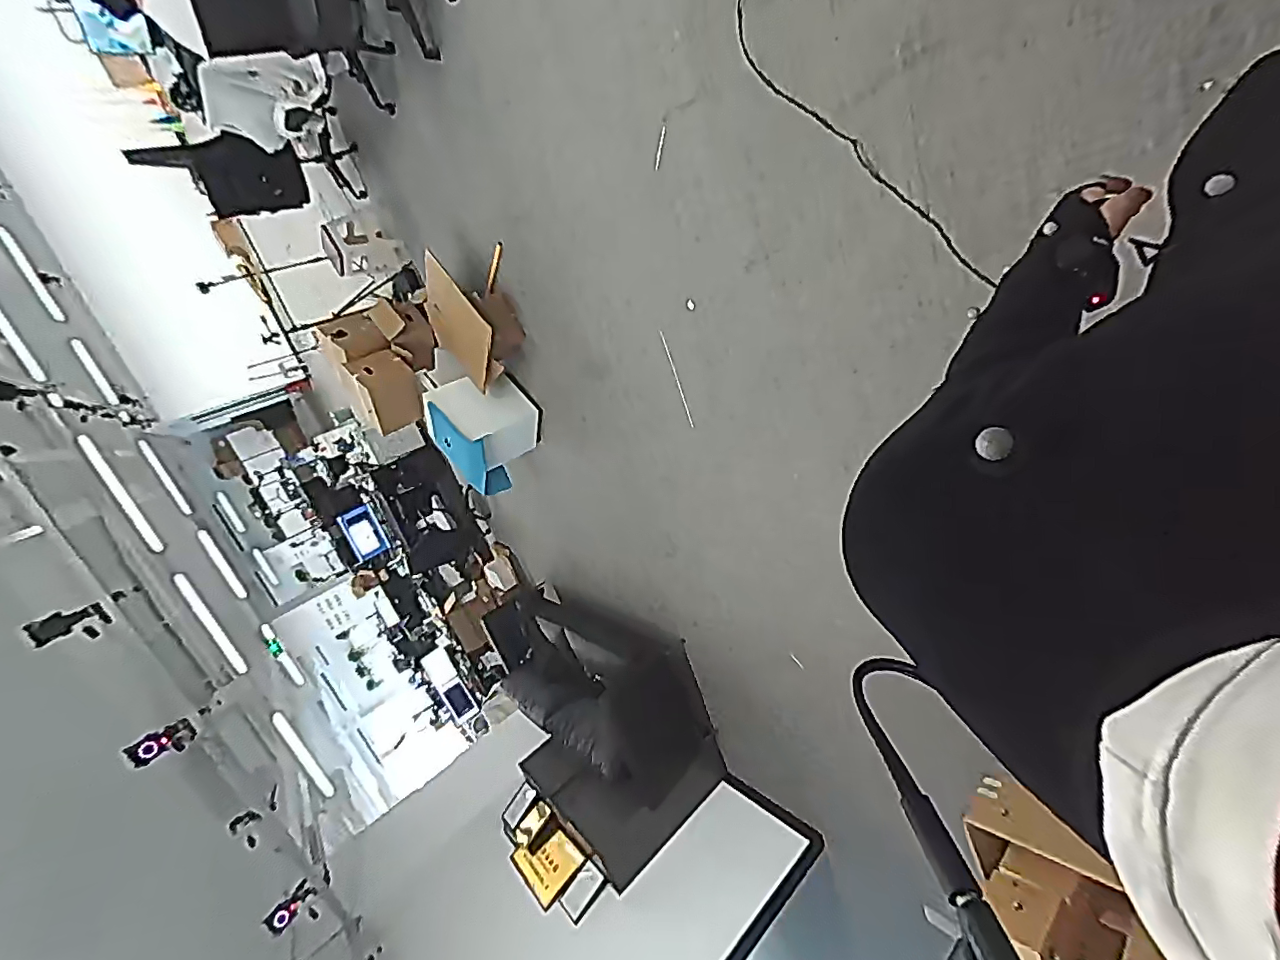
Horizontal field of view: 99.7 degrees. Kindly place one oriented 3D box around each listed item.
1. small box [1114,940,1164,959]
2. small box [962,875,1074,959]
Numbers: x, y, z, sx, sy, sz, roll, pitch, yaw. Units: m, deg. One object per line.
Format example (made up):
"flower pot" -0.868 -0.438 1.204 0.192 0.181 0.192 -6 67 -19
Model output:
"small box" 1.144 1.175 1.177 0.168 0.176 0.179 -3 115 54
"small box" 0.985 1.190 1.408 0.168 0.176 0.179 -17 101 58
